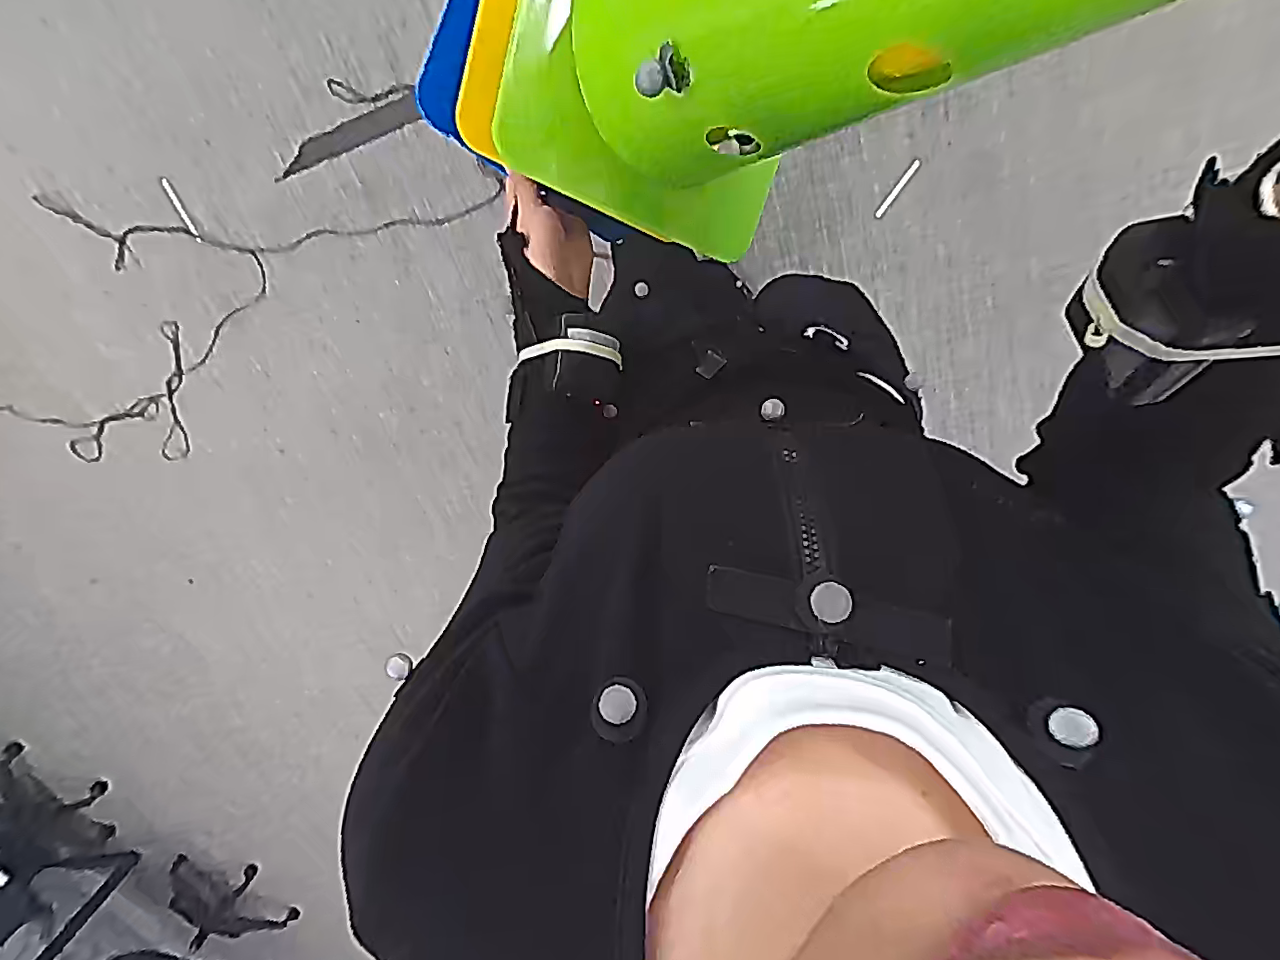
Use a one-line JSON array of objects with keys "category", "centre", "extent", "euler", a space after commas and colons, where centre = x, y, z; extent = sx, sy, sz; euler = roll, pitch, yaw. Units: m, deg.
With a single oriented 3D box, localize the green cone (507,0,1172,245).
[{"category": "green cone", "centre": [0.112, -0.198, 0.186], "extent": [0.200, 0.368, 0.202], "euler": [7, 110, -32]}]
